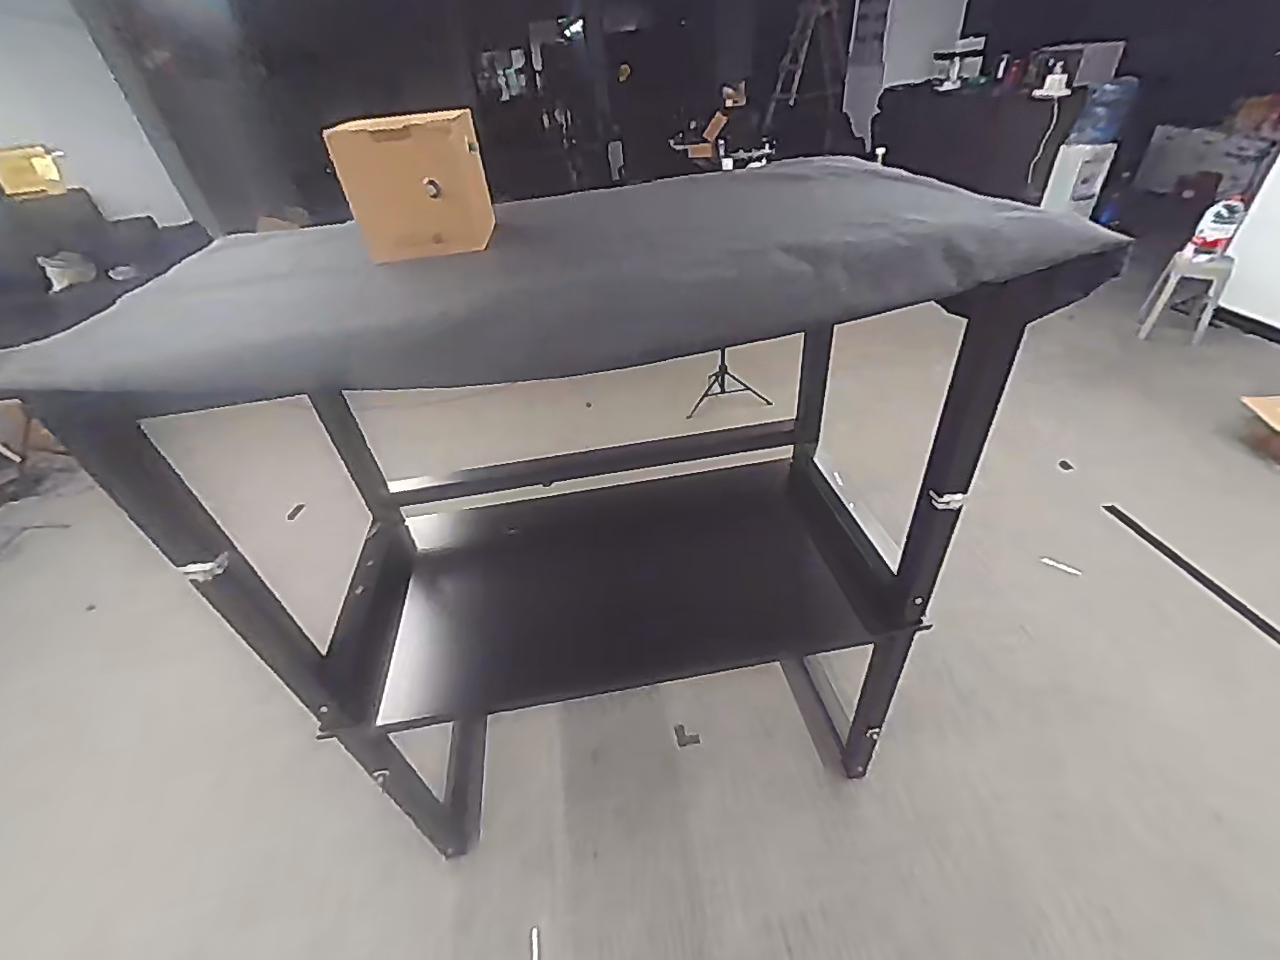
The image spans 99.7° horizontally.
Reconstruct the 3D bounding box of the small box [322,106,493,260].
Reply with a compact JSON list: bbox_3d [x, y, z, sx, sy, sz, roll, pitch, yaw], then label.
[{"bbox_3d":[-0.323,-0.433,0.796,0.168,0.176,0.179,-7,39,-2],"label":"small box"}]
